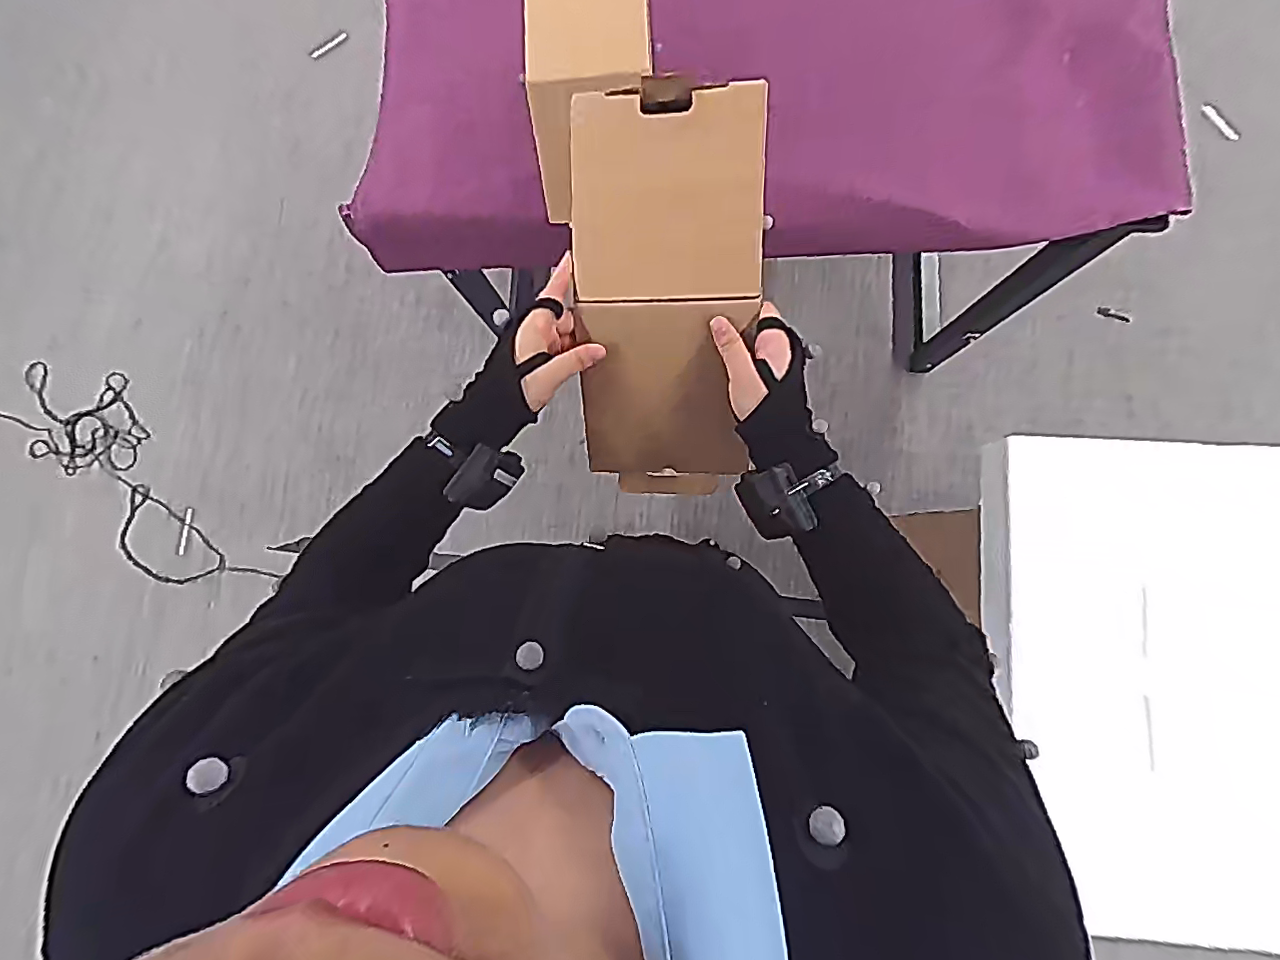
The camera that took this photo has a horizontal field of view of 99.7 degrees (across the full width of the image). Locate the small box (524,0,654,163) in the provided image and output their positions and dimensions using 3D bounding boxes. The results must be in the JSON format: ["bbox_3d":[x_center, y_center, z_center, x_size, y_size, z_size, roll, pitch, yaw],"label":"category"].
[{"bbox_3d":[-0.067,-0.592,0.788,0.168,0.176,0.179,-3,81,3],"label":"small box"}]
